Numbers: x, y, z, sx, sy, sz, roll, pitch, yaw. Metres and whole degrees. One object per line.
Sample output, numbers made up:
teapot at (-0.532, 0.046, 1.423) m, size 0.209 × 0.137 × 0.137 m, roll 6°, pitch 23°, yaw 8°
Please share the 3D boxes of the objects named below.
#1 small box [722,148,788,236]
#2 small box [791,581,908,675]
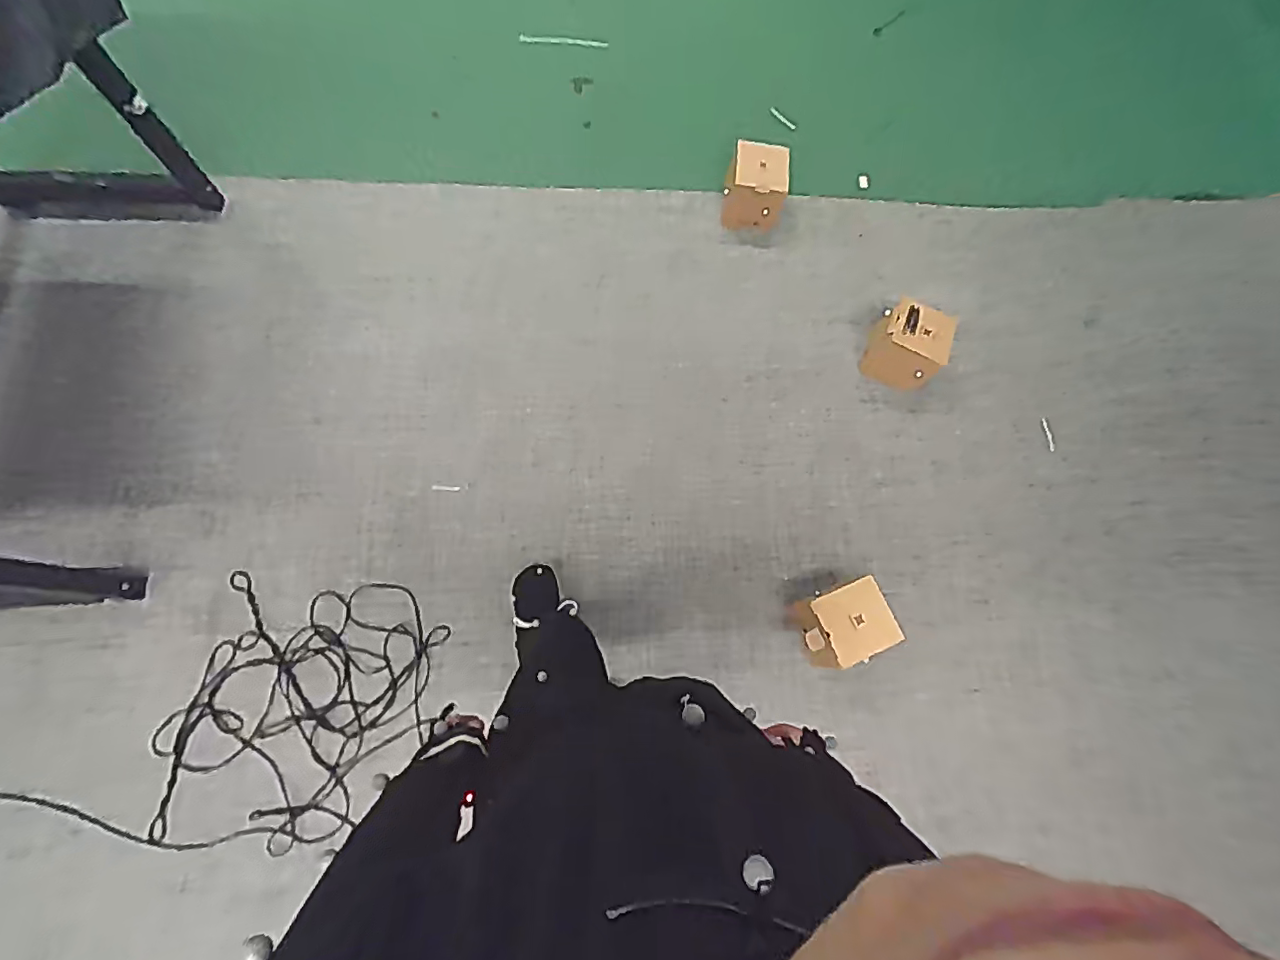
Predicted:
small box at (0.361, -0.909, 1.720) m, size 0.168 × 0.176 × 0.179 m, roll 6°, pitch 71°, yaw -5°
small box at (0.505, 0.362, 1.329) m, size 0.179 × 0.176 × 0.168 m, roll -21°, pitch 76°, yaw -11°
